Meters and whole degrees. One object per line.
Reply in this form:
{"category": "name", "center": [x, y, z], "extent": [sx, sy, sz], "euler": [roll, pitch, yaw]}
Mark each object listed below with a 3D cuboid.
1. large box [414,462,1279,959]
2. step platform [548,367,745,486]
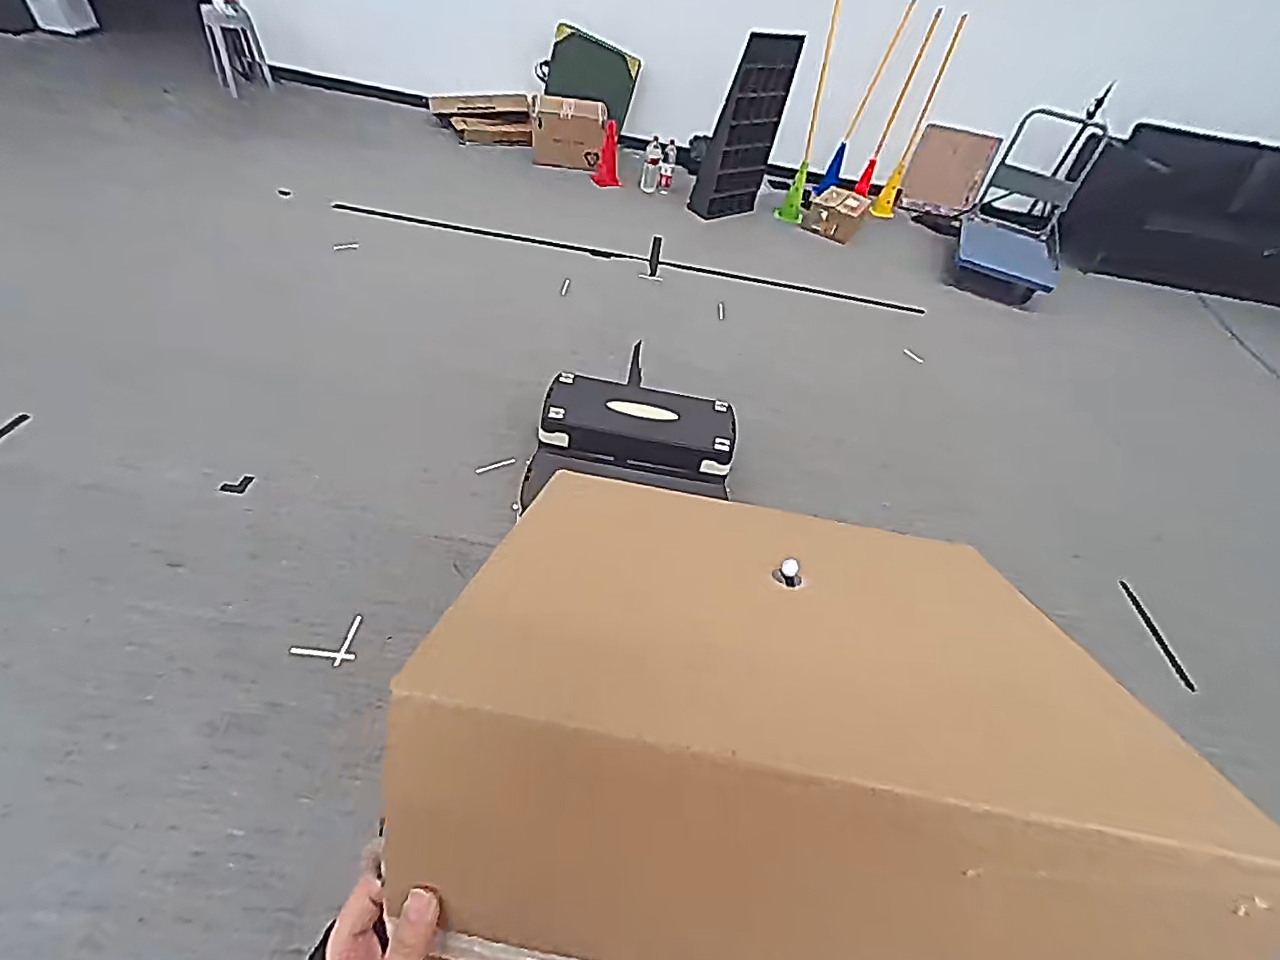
{"category": "large box", "center": [0.090, 0.196, 0.414], "extent": [0.408, 0.320, 0.320], "euler": [10, 20, 2]}
{"category": "step platform", "center": [0.027, -0.185, 1.918], "extent": [0.684, 0.204, 0.286], "euler": [14, 47, 0]}
